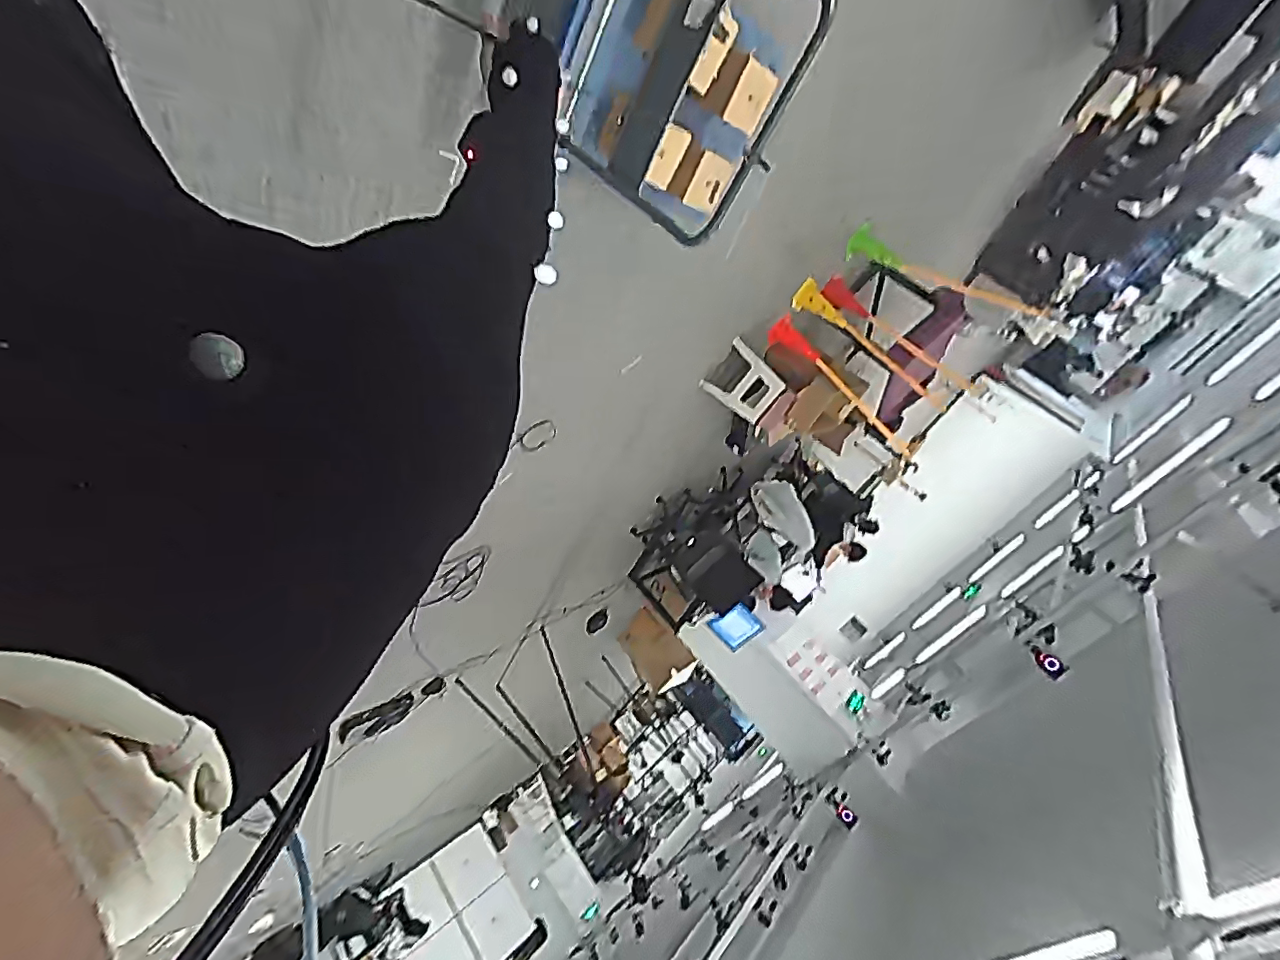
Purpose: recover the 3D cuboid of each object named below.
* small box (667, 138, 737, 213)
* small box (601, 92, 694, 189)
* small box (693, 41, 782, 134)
[{"bbox_3d":[0.185,-1.028,1.806,0.179,0.176,0.168,-11,140,-48],"label":"small box"},{"bbox_3d":[0.020,-1.004,1.599,0.179,0.176,0.168,-8,139,-50],"label":"small box"},{"bbox_3d":[0.297,-1.215,1.670,0.179,0.176,0.168,-14,144,-47],"label":"small box"}]
